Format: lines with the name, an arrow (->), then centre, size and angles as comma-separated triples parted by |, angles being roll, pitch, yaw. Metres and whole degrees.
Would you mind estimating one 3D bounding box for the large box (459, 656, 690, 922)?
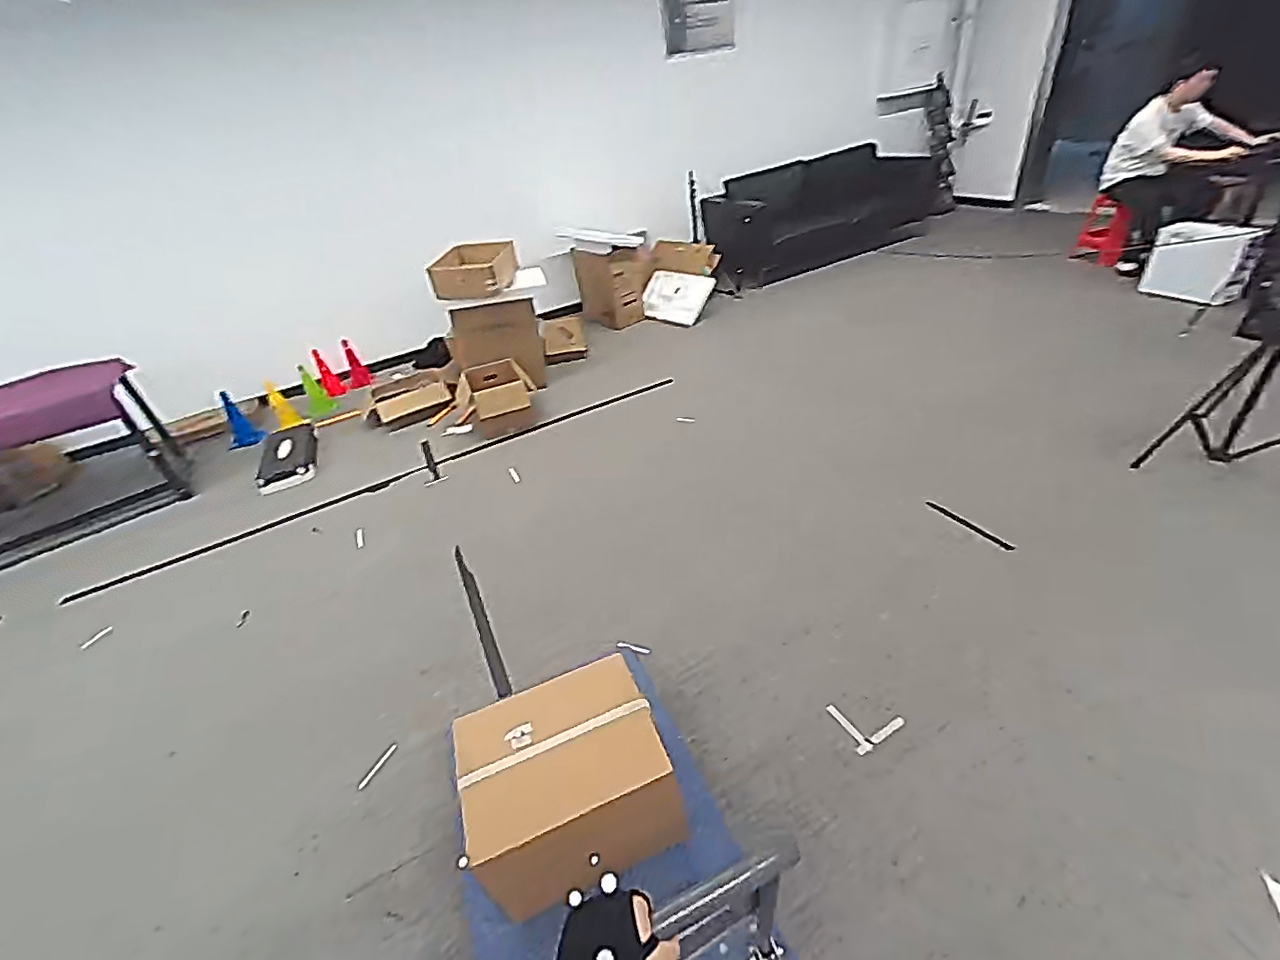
large box -> -0.143, 0.679, 1.216 | 0.408, 0.320, 0.320 | -20, 35, -12
